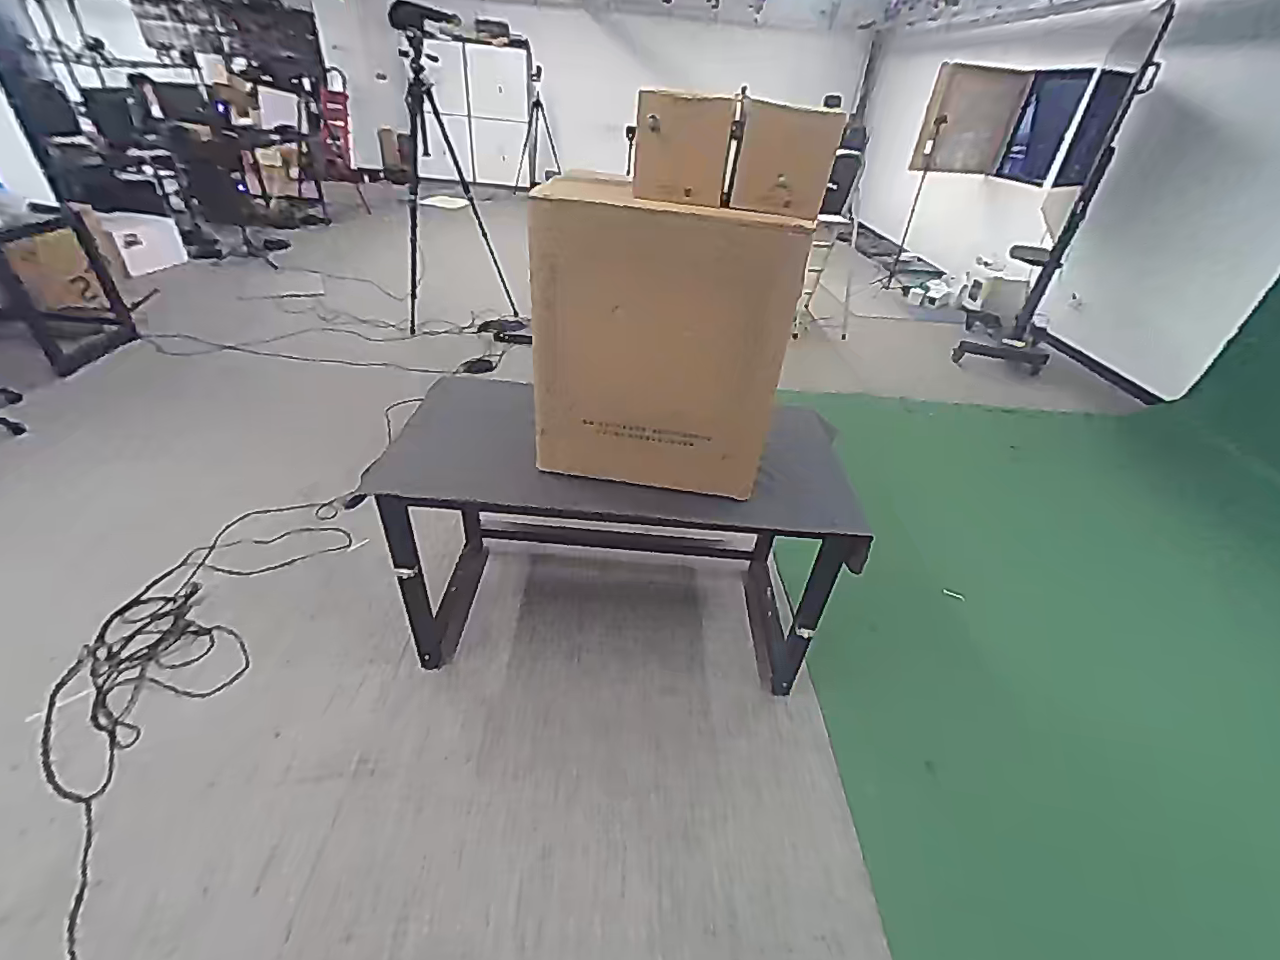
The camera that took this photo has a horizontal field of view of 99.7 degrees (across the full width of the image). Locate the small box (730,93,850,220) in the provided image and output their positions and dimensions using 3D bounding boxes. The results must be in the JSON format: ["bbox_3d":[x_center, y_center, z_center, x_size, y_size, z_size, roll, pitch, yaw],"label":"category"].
[{"bbox_3d":[0.266,-0.602,1.005,0.168,0.176,0.179,9,38,1],"label":"small box"}]
